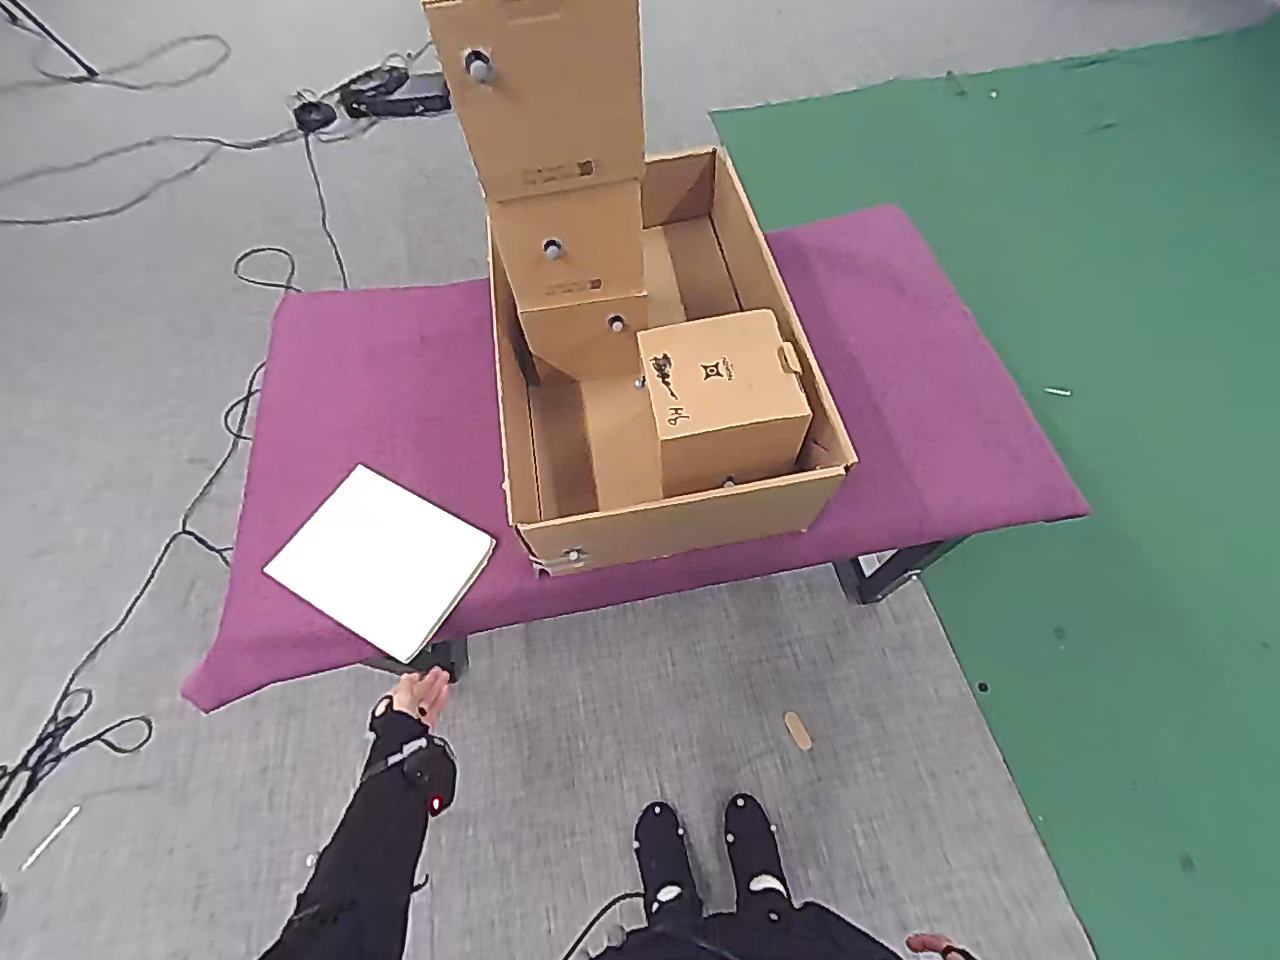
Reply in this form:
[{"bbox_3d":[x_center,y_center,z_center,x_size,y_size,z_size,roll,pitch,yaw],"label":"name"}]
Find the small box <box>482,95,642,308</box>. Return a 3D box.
[{"bbox_3d":[-0.091,-0.334,0.675,0.168,0.176,0.179,-8,63,-2],"label":"small box"}]
